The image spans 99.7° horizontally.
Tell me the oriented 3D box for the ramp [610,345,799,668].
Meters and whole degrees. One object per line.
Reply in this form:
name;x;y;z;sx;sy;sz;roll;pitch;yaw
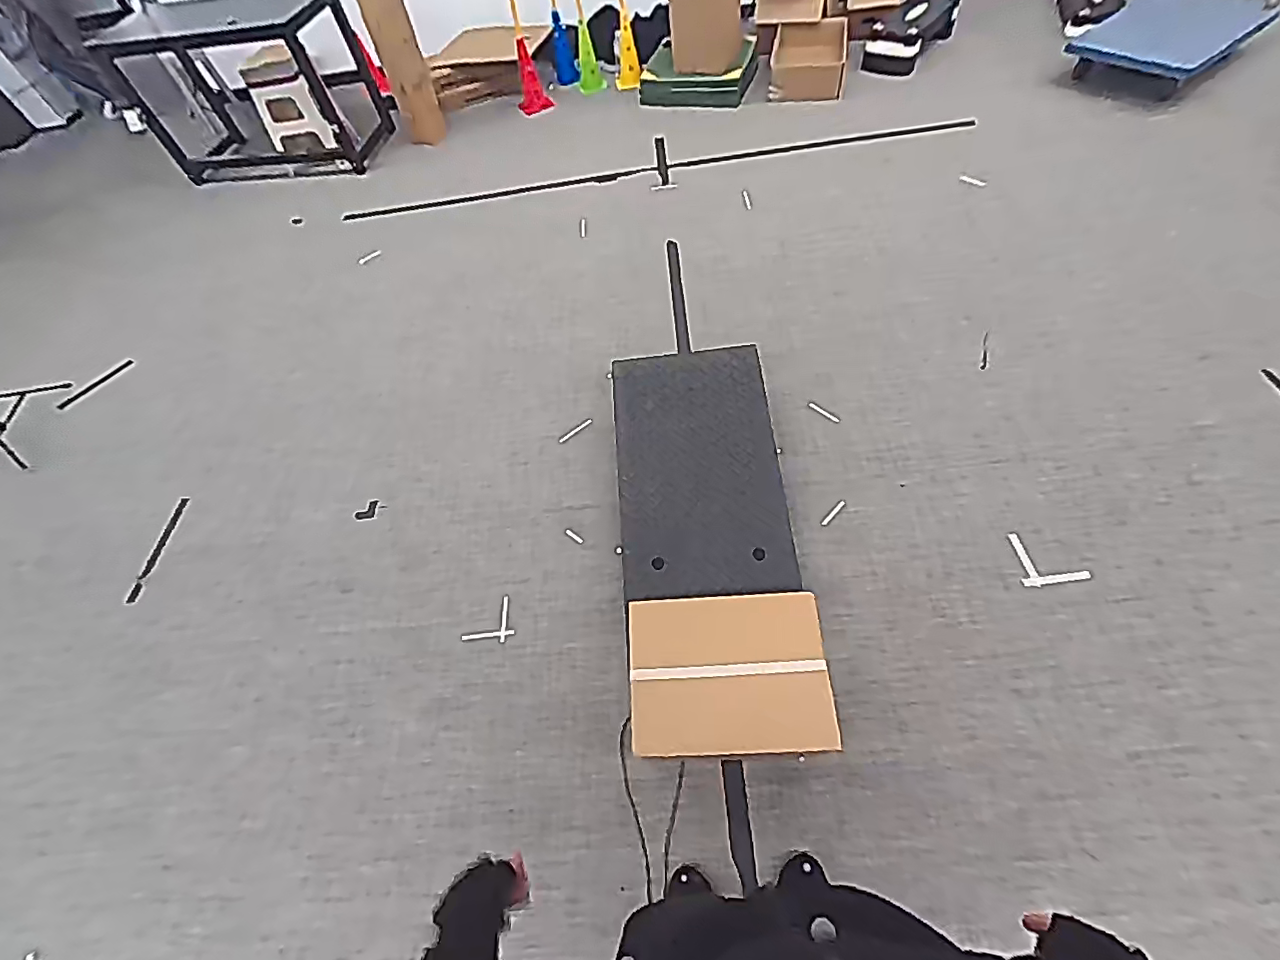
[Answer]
ramp;0.173;0.030;1.627;0.509;0.206;0.991;-6;56;2

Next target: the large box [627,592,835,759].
large box;0.190;0.466;1.254;0.408;0.320;0.320;-4;60;4
